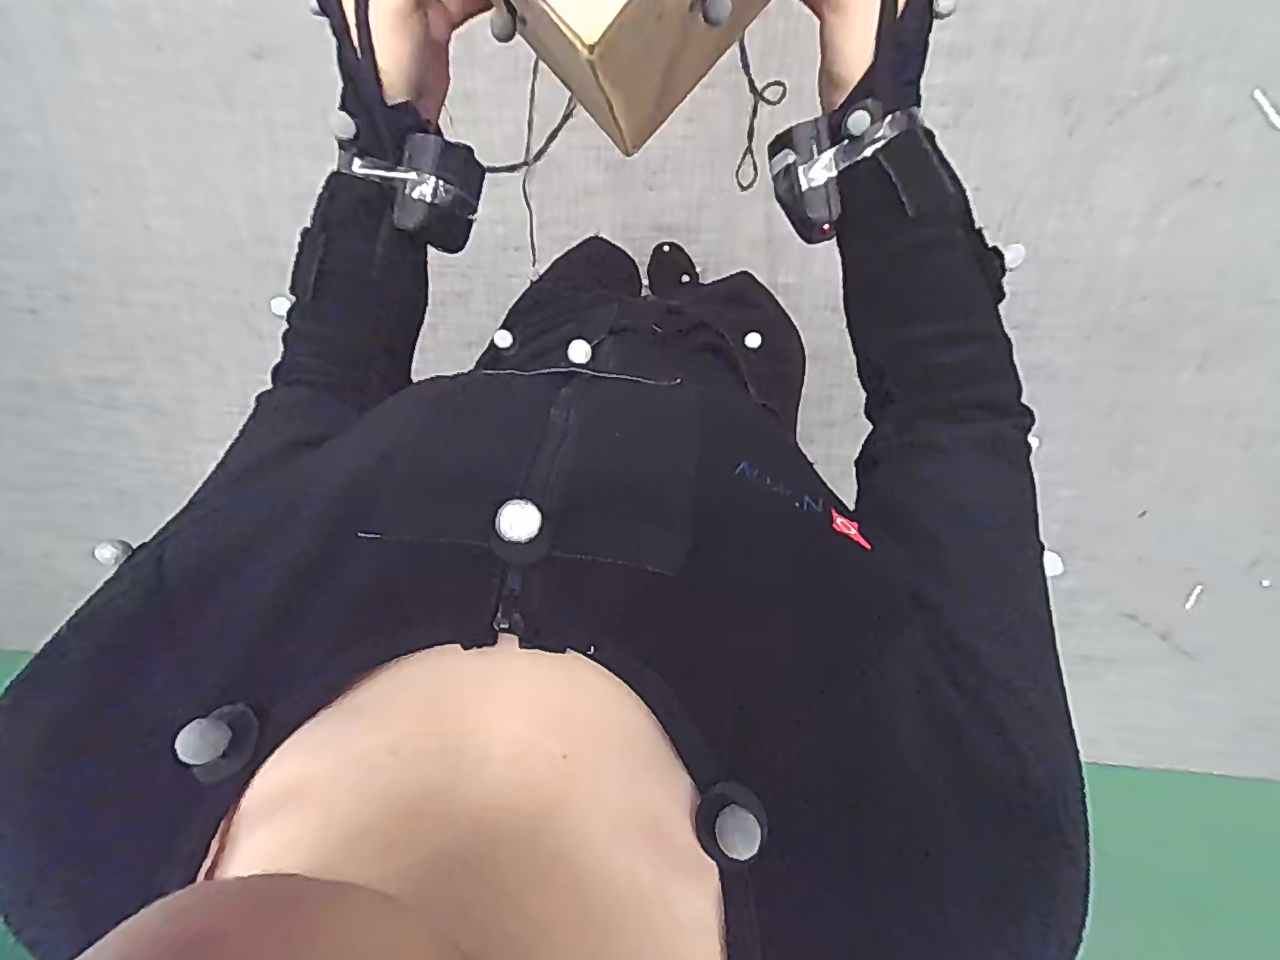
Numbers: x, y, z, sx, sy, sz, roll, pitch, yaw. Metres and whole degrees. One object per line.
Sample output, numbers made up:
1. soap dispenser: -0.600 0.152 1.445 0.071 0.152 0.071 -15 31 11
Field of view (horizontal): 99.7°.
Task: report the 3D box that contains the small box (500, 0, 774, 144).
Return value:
1. small box: -0.007 -0.323 0.284 0.179 0.176 0.168 -42 99 16
